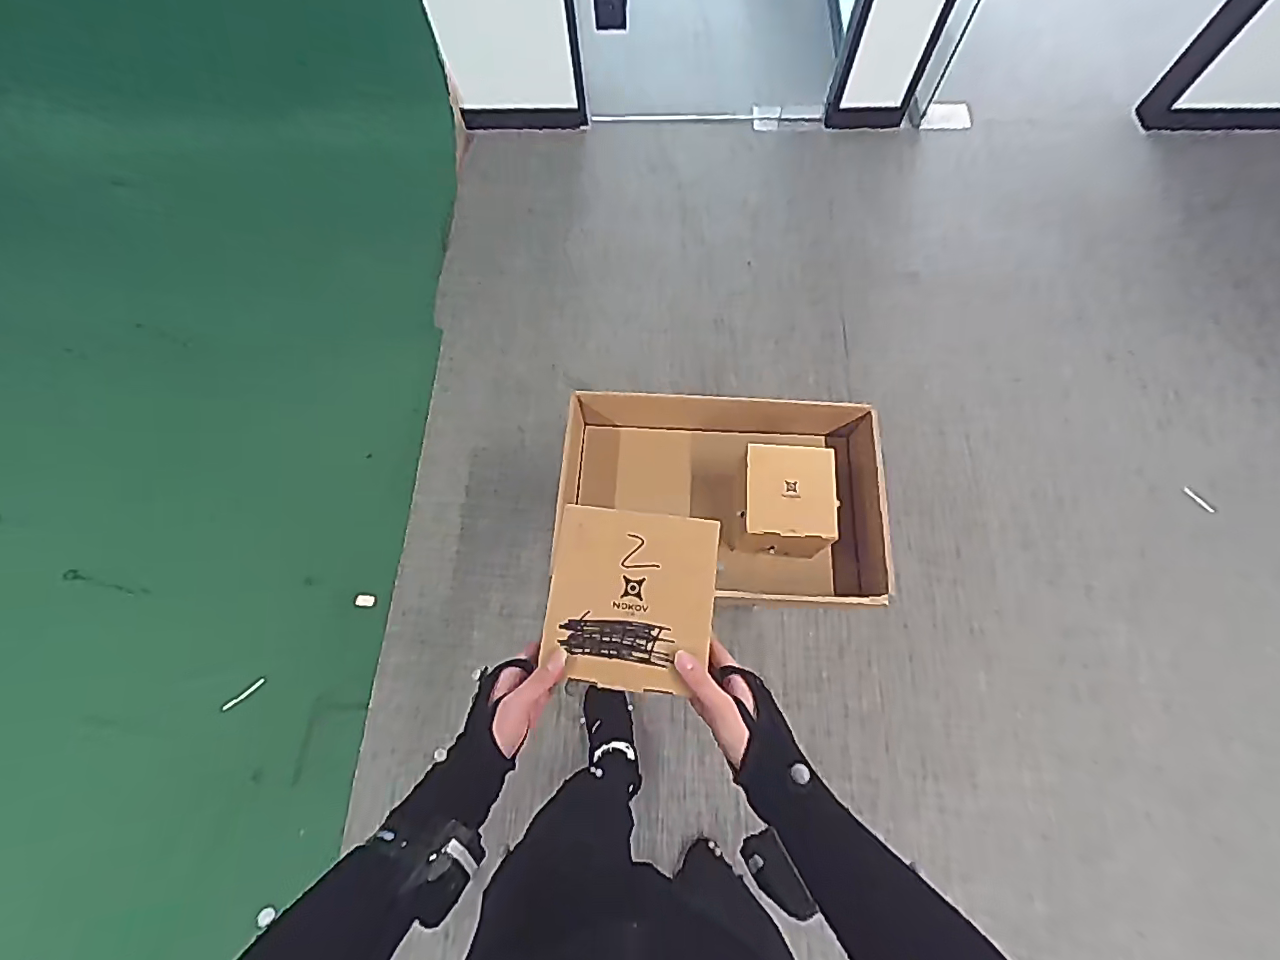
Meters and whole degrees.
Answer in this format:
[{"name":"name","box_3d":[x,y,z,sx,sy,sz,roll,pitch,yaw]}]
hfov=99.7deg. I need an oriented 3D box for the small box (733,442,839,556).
[{"name":"small box","box_3d":[0.278,0.042,1.060,0.168,0.176,0.179,4,71,1]}]
